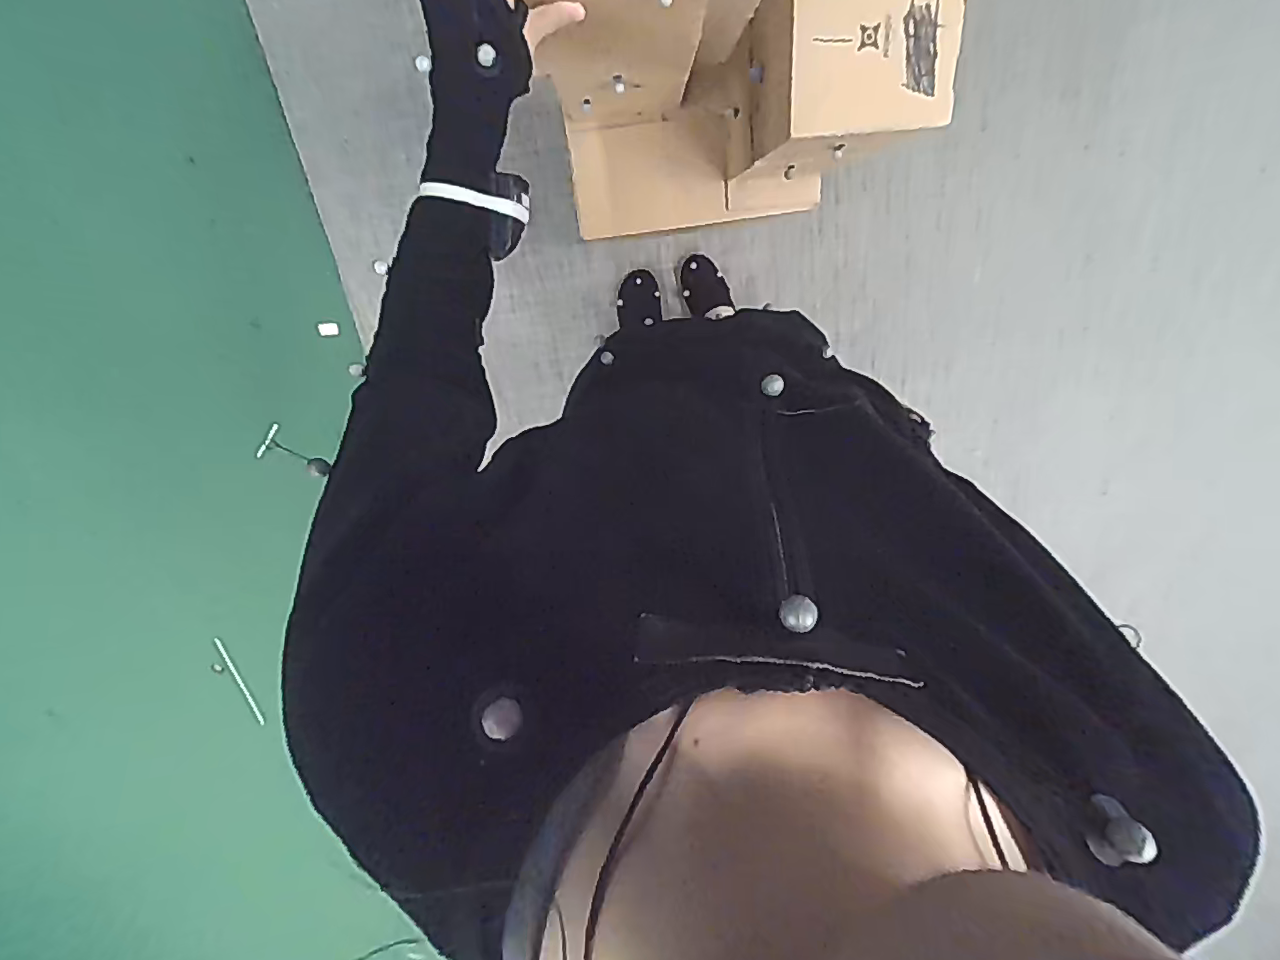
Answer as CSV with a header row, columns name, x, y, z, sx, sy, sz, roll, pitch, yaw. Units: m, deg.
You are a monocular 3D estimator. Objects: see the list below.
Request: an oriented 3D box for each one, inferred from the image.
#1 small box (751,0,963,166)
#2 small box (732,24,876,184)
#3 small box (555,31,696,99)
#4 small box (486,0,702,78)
name,x,y,z,sx,sy,sz,roll,pitch,yaw
small box,0.235,-0.471,0.624,0.179,0.176,0.168,-4,112,1
small box,0.228,-0.531,0.776,0.179,0.176,0.168,-5,114,1
small box,-0.027,-0.547,0.593,0.168,0.176,0.179,-2,112,1
small box,-0.041,-0.468,0.447,0.179,0.176,0.168,-10,110,4
